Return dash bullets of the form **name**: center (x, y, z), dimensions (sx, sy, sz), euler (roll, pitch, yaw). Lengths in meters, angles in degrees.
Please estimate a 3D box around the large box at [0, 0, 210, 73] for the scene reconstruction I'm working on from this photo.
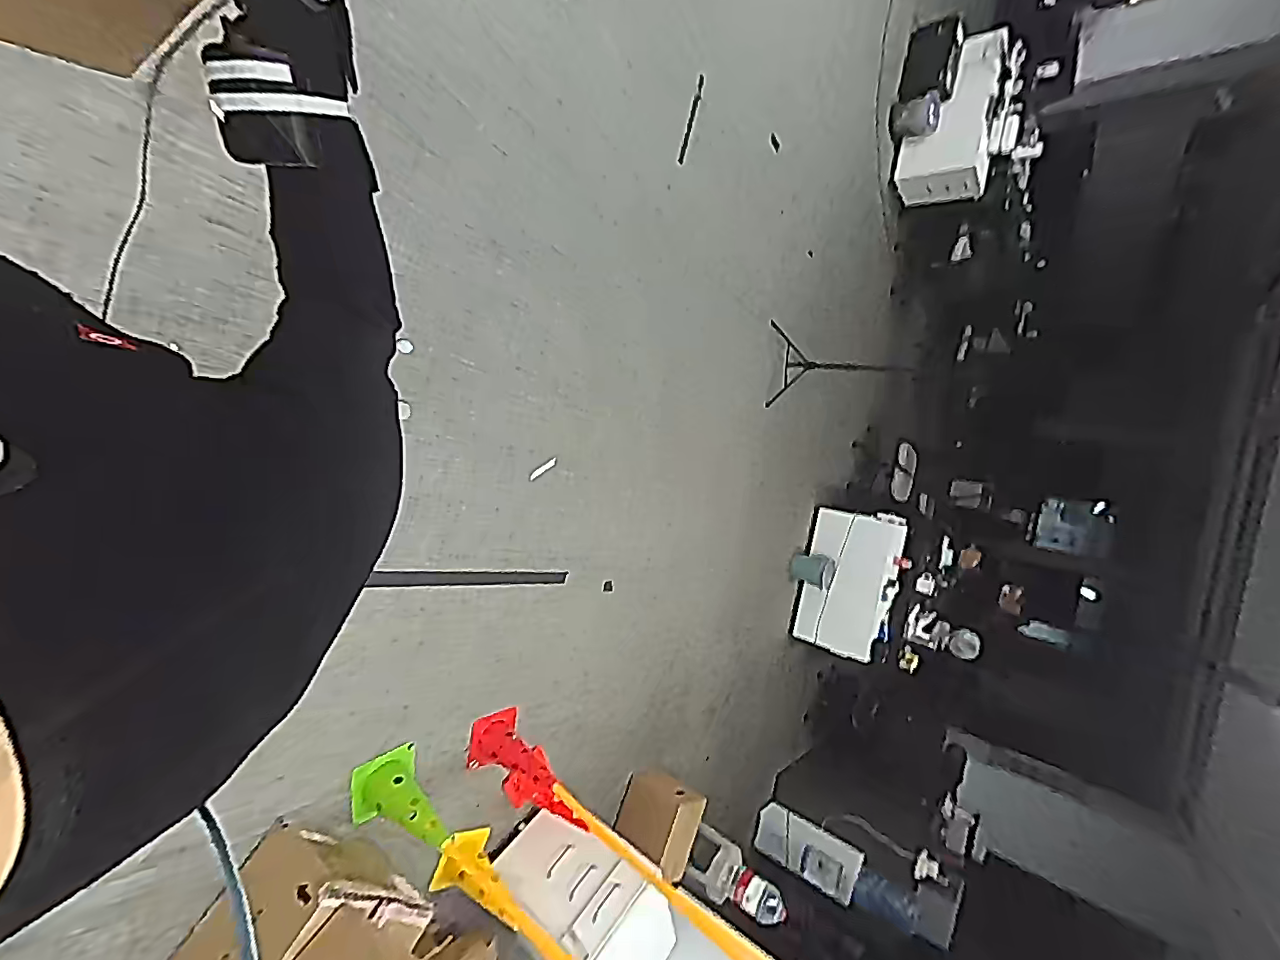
- **large box**: center (-0.461, -0.450, 0.220), dimensions (0.408, 0.320, 0.320), euler (-12, 115, -50)
